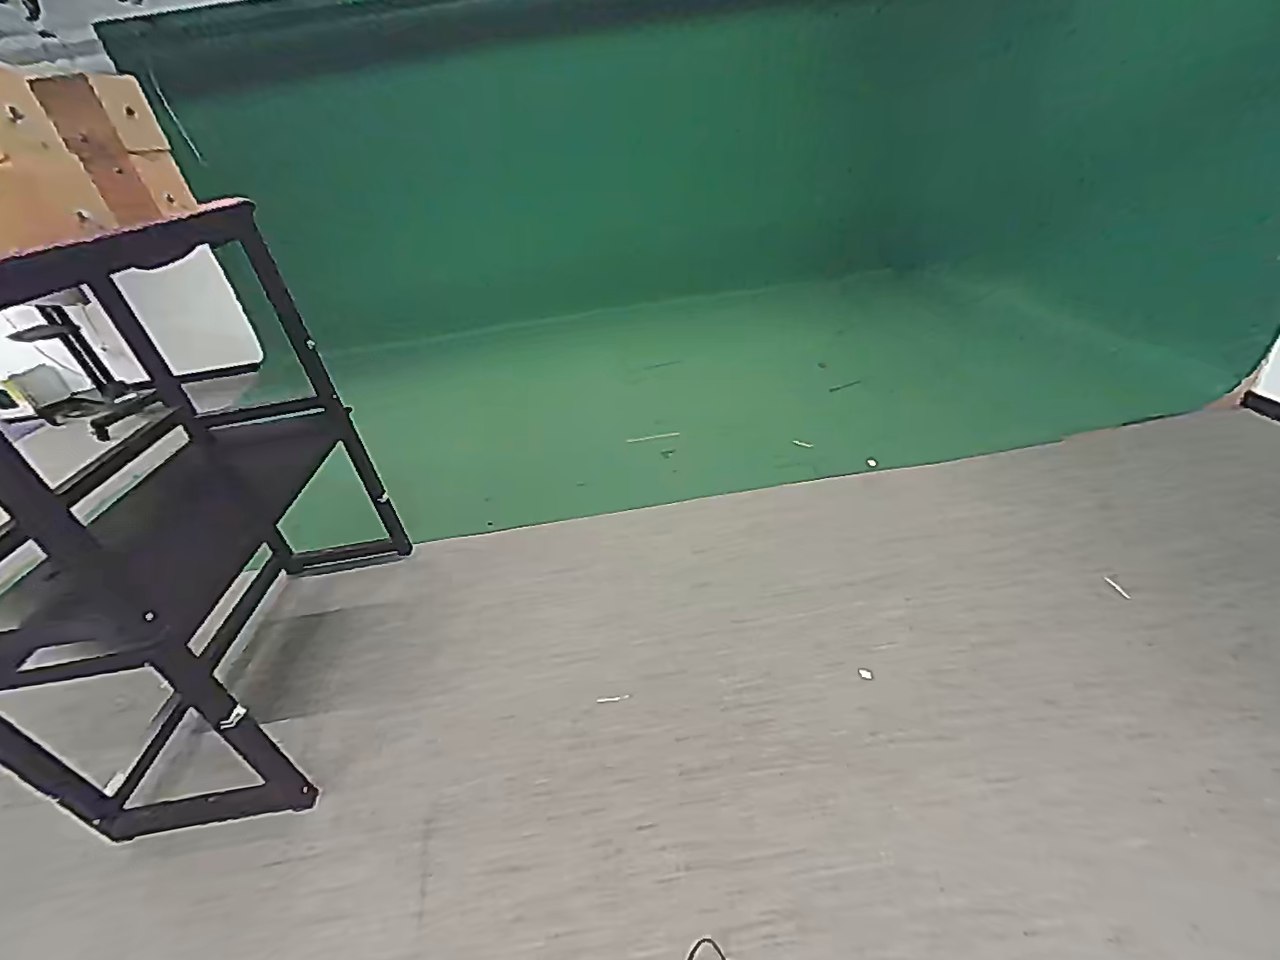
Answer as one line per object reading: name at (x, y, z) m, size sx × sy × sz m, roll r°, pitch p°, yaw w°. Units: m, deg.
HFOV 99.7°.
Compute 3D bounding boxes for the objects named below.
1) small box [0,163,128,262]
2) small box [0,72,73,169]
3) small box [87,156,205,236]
small box at (-1.326, -0.595, 1.204) m, size 0.179 × 0.176 × 0.168 m, roll -9°, pitch 34°, yaw -1°
small box at (-1.358, -0.727, 1.113) m, size 0.179 × 0.176 × 0.168 m, roll -9°, pitch 34°, yaw 0°
small box at (-1.366, -0.779, 1.485) m, size 0.179 × 0.176 × 0.168 m, roll -8°, pitch 34°, yaw 0°
